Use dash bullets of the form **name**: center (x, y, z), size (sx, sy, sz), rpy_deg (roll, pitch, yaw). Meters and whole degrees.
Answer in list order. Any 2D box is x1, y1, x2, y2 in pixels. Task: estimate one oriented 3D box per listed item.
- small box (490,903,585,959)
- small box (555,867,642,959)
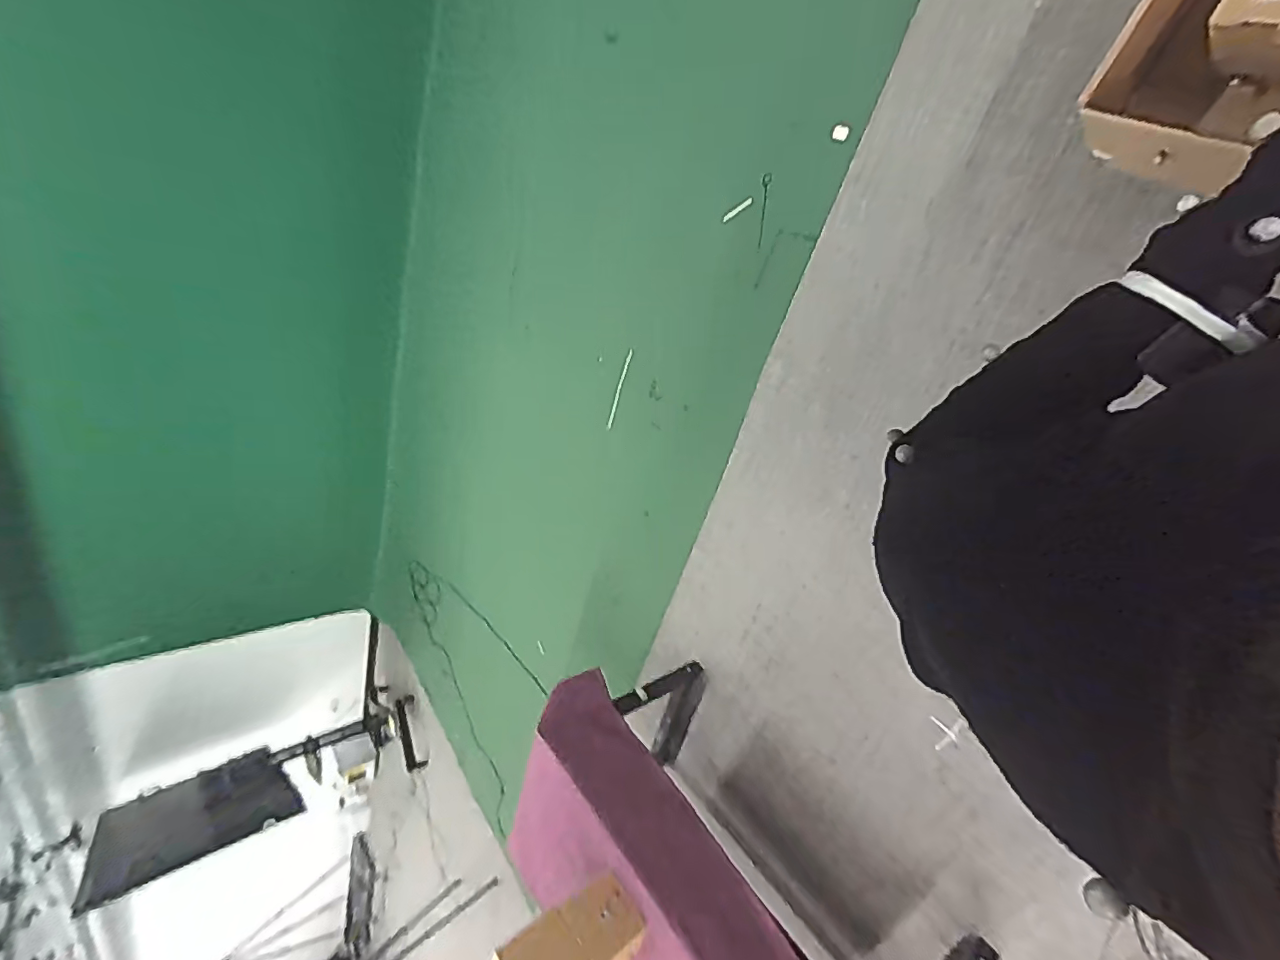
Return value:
- **small box**: center (-0.239, 1.162, 1.267), size (0.179, 0.176, 0.168), rpy_deg (36, 120, 38)
- **small box**: center (-0.117, 1.147, 1.379), size (0.168, 0.176, 0.179), rpy_deg (36, 120, 38)
